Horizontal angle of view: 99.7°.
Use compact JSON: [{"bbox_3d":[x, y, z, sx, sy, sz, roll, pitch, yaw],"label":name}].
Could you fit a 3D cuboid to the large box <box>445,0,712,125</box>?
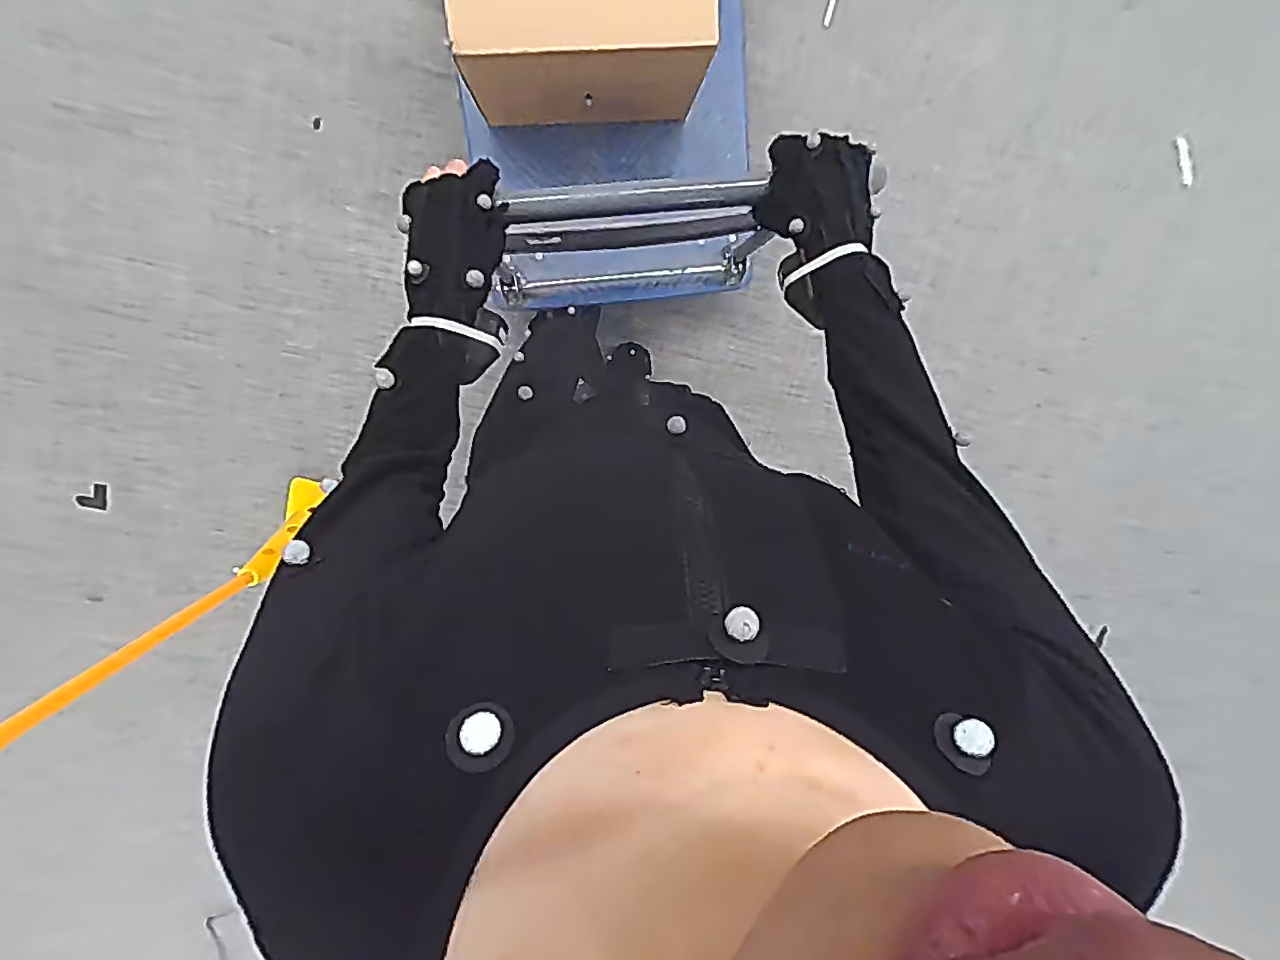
[{"bbox_3d":[-0.106,-0.841,0.926,0.408,0.320,0.320,-5,106,-3],"label":"large box"}]
